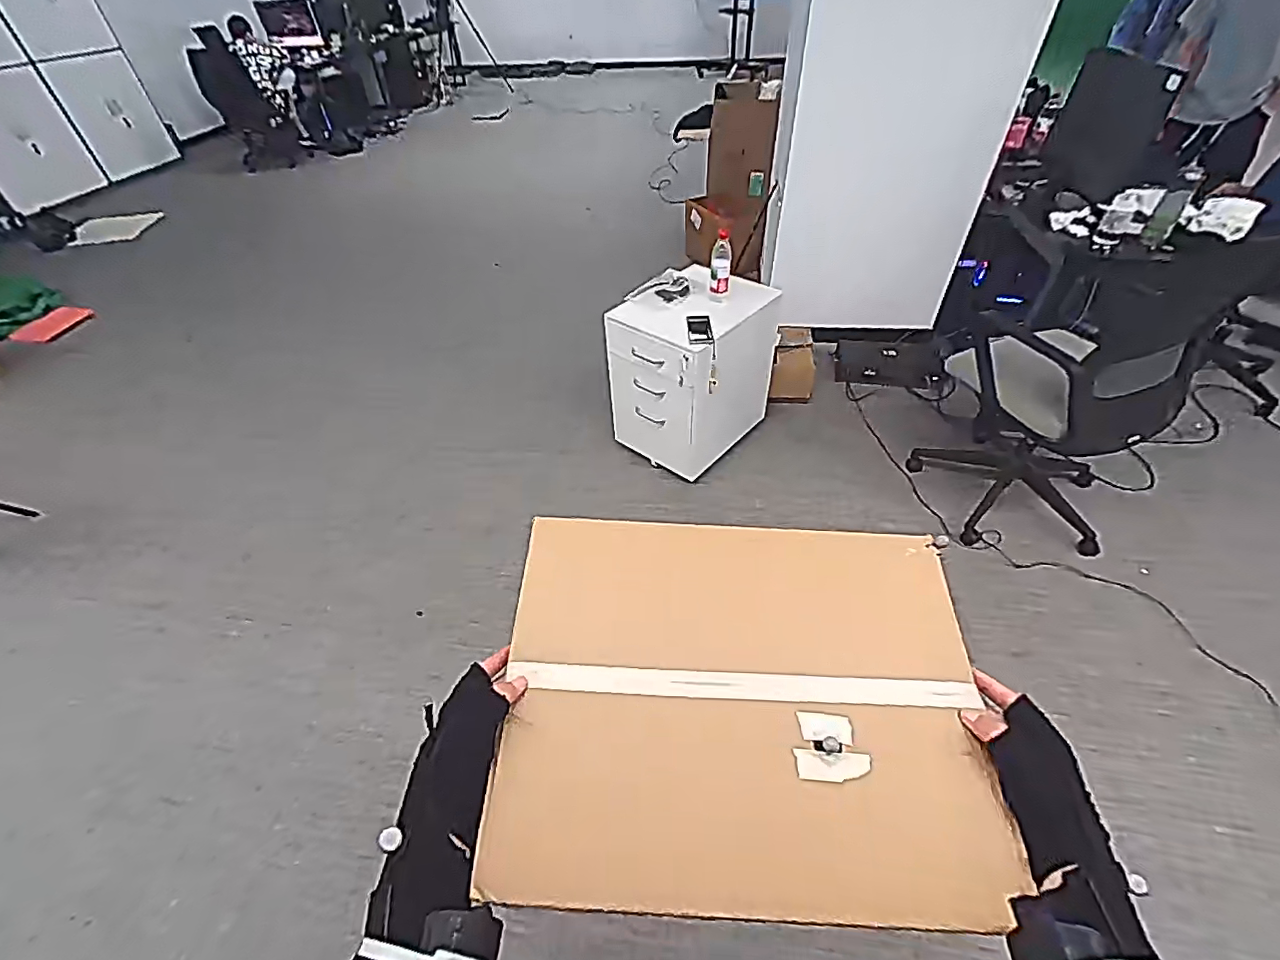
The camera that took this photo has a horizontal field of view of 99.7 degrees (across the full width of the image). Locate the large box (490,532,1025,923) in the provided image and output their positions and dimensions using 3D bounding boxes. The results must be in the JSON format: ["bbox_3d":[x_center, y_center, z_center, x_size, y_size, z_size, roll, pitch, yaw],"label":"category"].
[{"bbox_3d":[0.086,0.271,0.599,0.408,0.320,0.320,3,57,0],"label":"large box"}]
